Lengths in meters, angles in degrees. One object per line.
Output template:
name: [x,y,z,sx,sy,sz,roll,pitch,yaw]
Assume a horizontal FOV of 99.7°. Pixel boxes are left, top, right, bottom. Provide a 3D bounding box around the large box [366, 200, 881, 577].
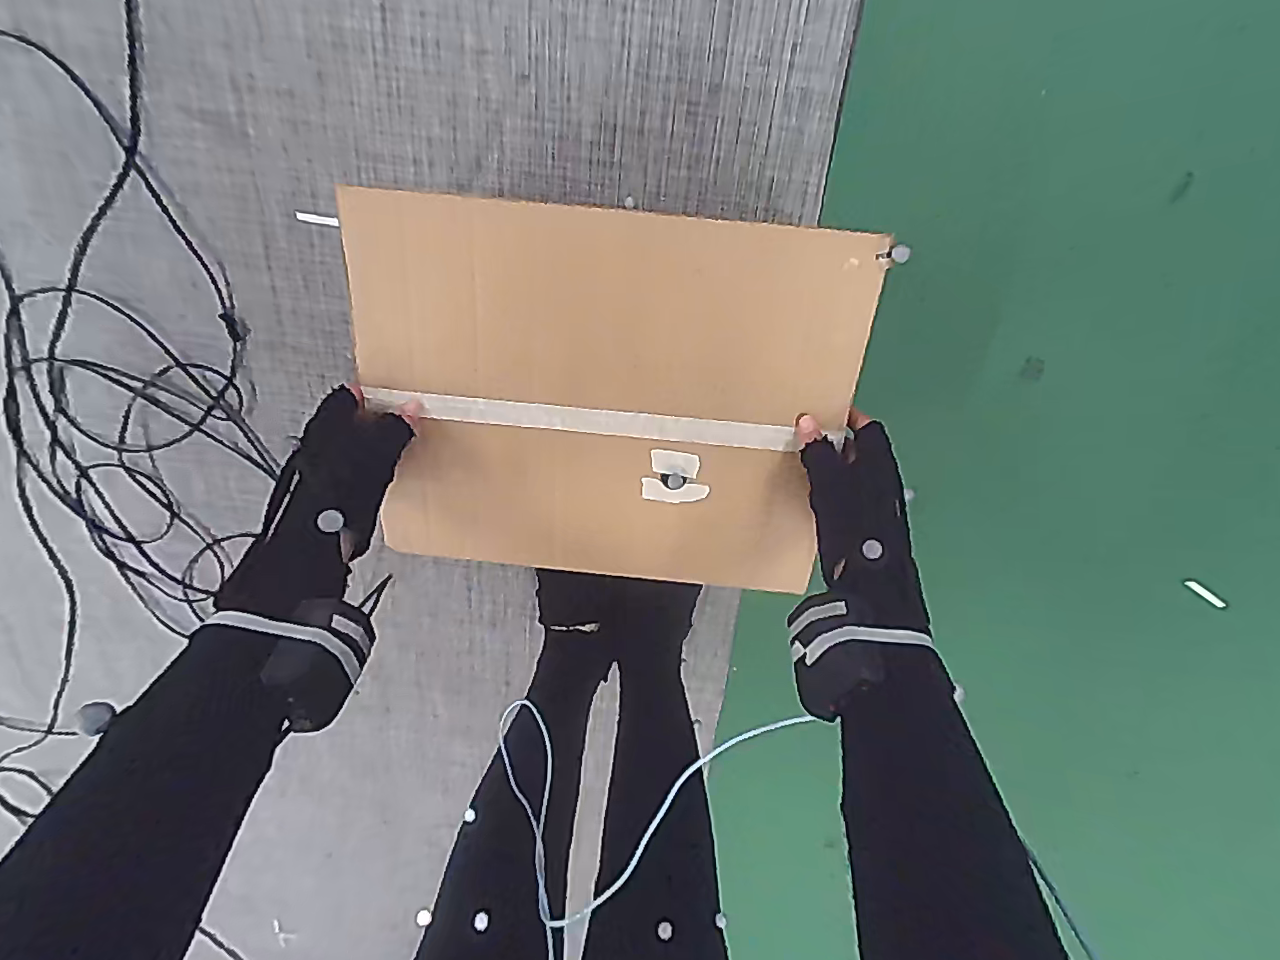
large box: [-0.019,-0.117,0.605,0.408,0.320,0.320,5,115,1]
